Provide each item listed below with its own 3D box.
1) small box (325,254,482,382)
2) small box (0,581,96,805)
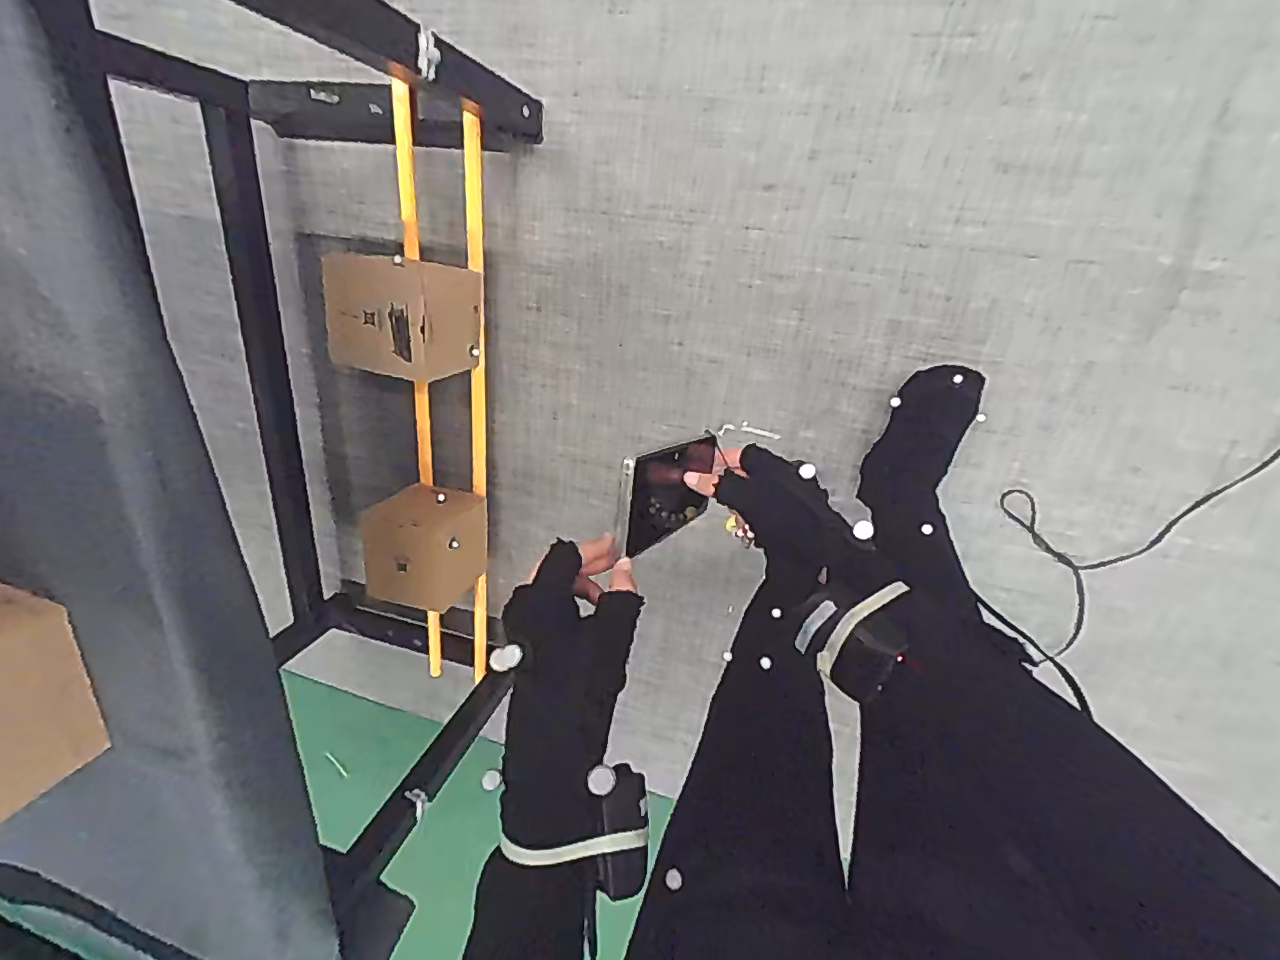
[{"bbox_3d":[-0.380,-0.273,0.895,0.179,0.176,0.168,14,113,11],"label":"small box"},{"bbox_3d":[-0.621,0.195,0.453,0.168,0.176,0.179,14,114,11],"label":"small box"}]
